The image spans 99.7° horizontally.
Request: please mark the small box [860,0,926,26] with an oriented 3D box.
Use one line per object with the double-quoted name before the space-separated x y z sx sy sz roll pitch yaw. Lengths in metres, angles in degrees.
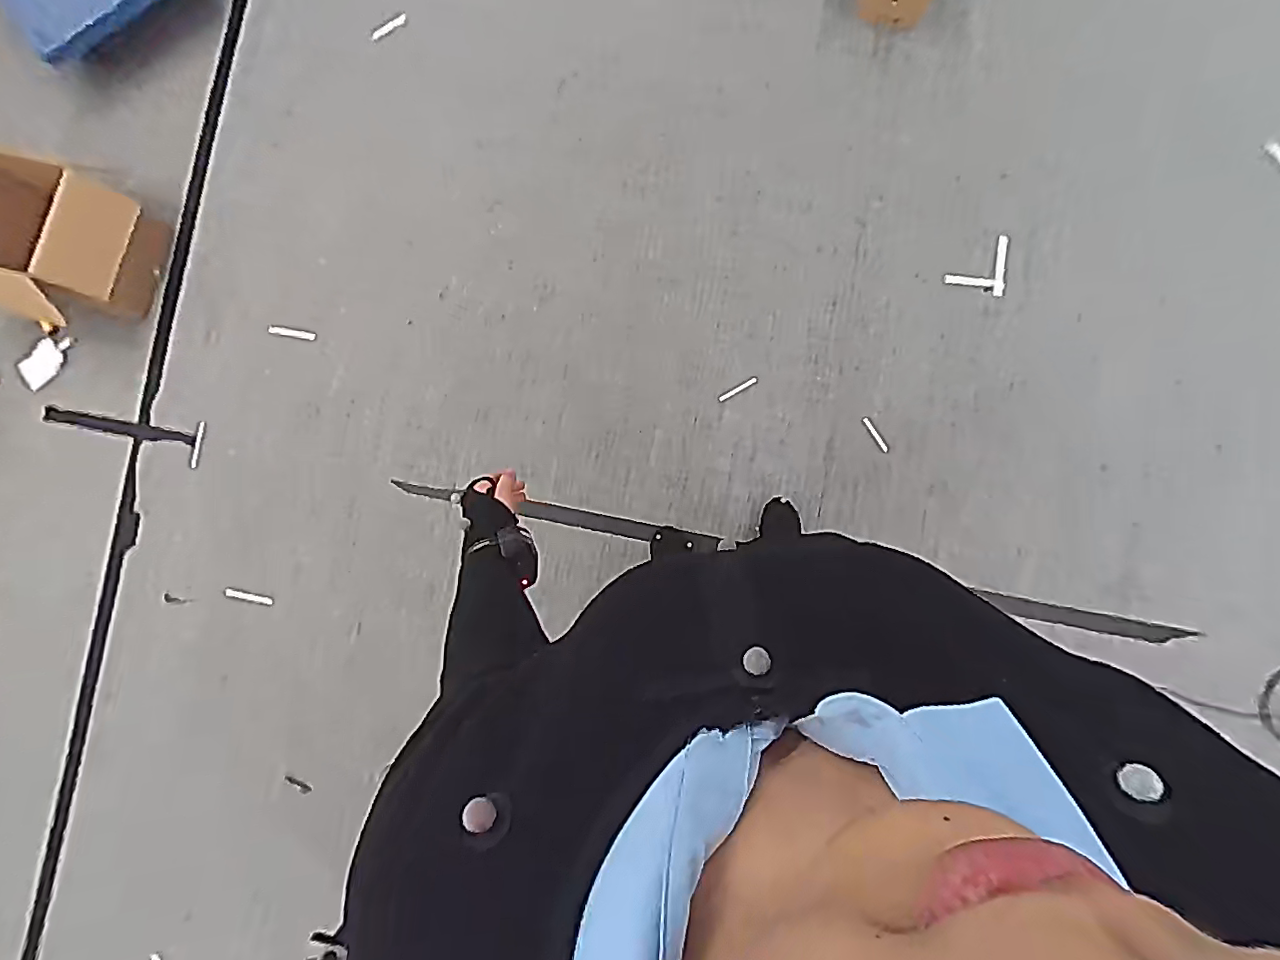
"small box" 0.724 -1.410 1.493 0.168 0.176 0.179 12 87 5
